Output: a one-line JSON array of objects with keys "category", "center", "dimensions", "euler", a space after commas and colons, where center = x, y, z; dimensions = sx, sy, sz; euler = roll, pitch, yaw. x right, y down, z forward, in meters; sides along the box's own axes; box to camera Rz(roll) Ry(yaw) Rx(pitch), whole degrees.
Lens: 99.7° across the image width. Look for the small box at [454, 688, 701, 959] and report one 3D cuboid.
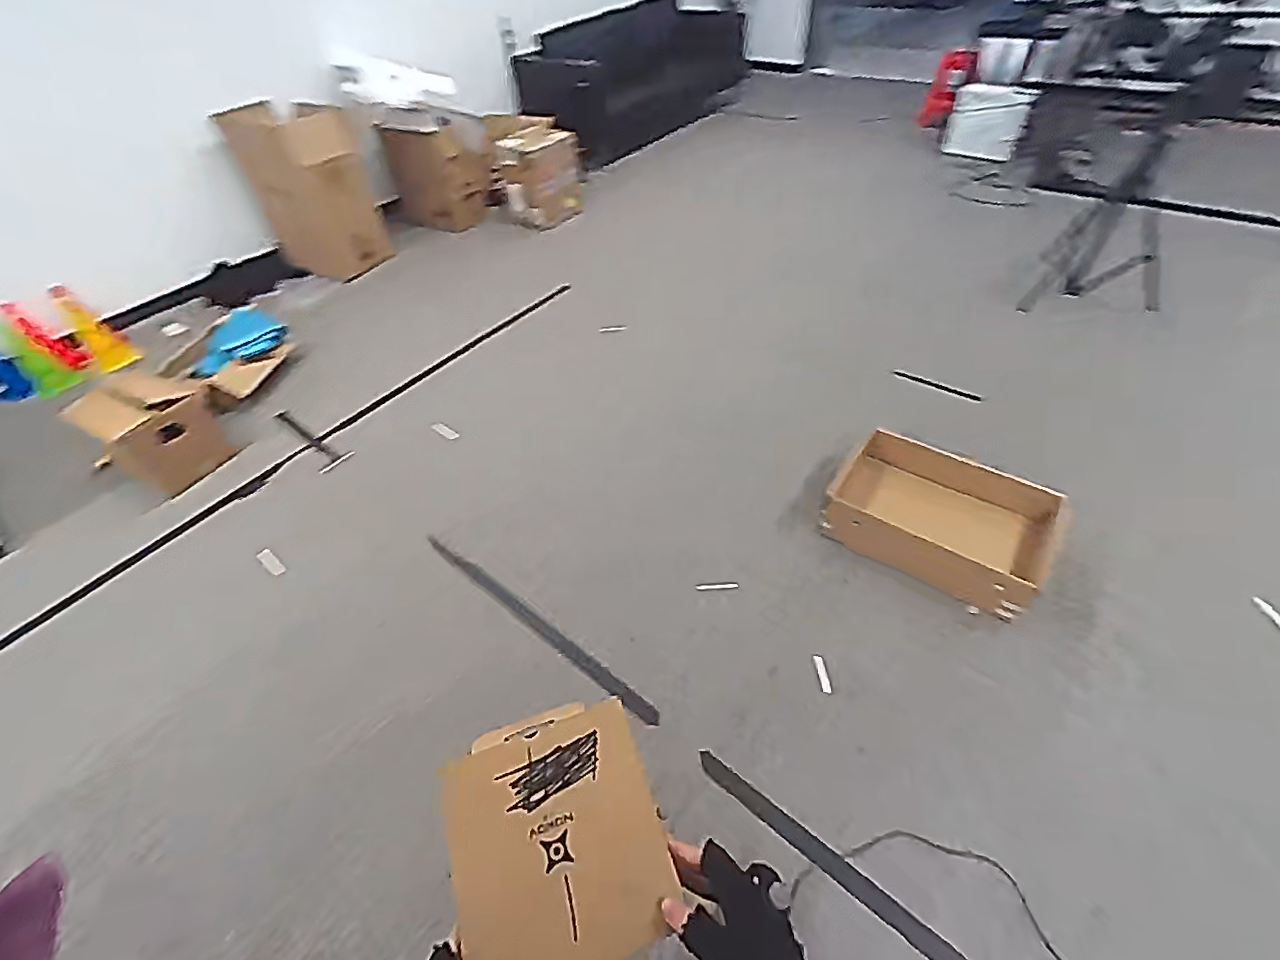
[{"category": "small box", "center": [-0.058, 0.325, 0.498], "dimensions": [0.168, 0.176, 0.179], "euler": [-16, 54, -12]}]
